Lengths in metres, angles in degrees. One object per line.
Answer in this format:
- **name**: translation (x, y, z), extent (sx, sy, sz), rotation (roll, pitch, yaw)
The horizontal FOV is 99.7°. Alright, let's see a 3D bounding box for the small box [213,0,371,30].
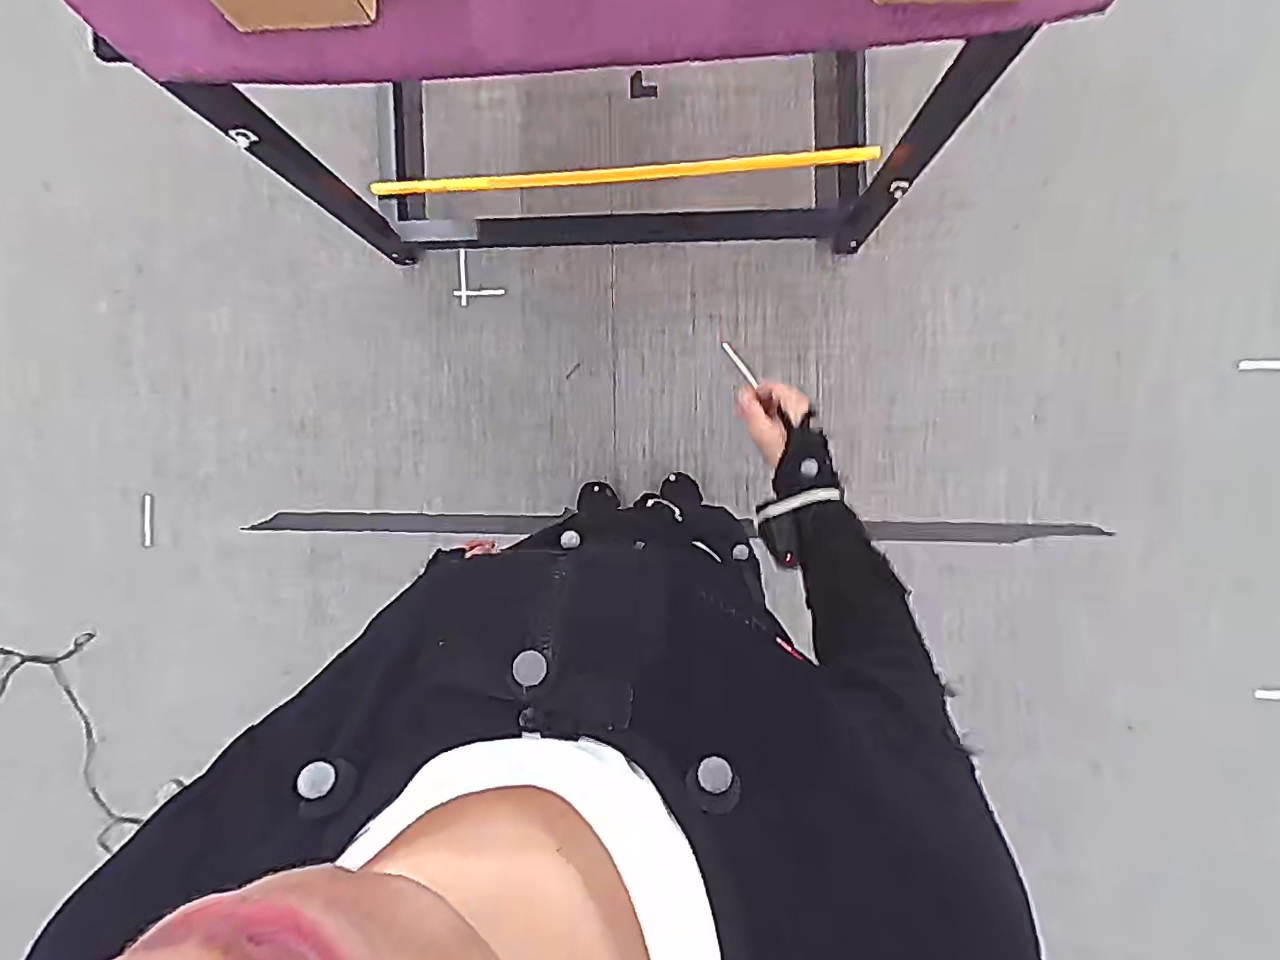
- **small box**: translation (-0.424, -0.642, 0.594), extent (0.179, 0.176, 0.168), rotation (-1, 89, 2)
